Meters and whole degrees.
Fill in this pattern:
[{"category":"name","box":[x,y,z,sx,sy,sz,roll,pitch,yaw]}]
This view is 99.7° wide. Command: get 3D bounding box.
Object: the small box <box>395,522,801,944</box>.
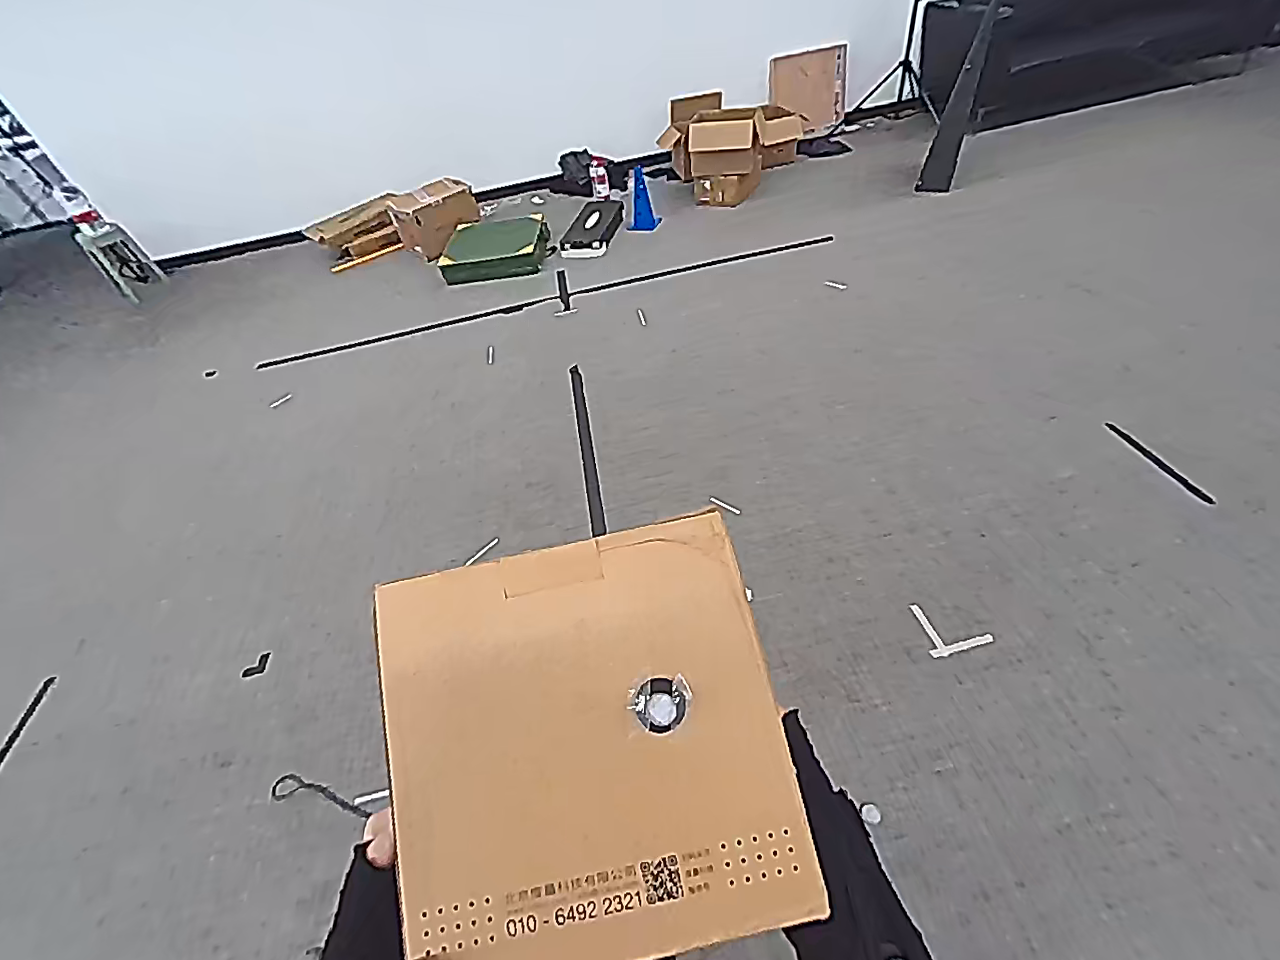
[{"category":"small box","box":[-0.018,0.137,0.325,0.168,0.179,0.176,-13,75,1]}]
